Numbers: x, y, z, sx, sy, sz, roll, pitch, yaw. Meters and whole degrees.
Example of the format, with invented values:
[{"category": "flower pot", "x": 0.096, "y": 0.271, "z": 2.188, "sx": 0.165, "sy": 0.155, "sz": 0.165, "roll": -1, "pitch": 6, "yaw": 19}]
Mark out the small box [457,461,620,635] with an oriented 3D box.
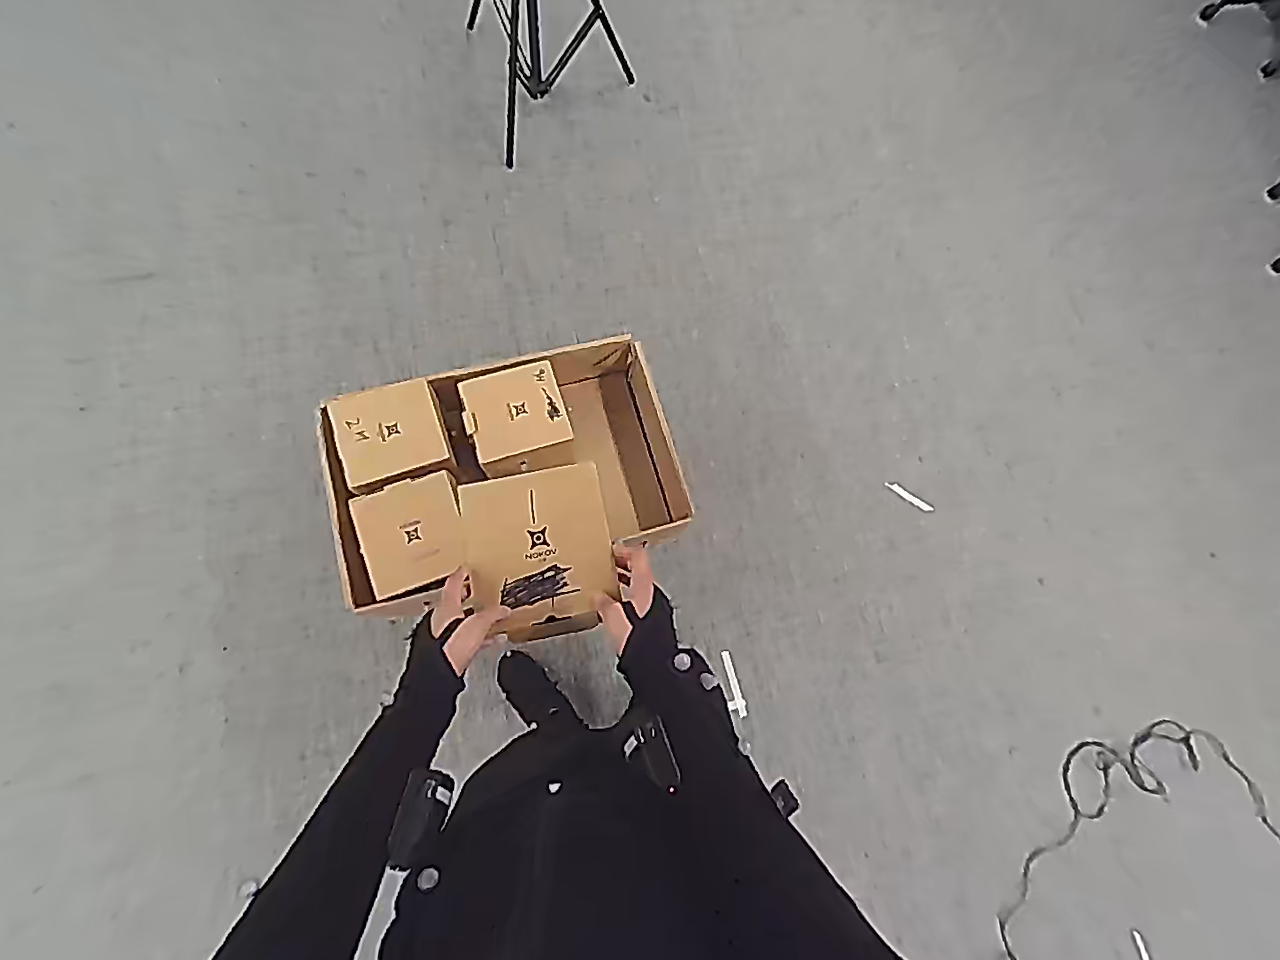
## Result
[{"category": "small box", "x": -0.119, "y": 0.089, "z": 0.694, "sx": 0.168, "sy": 0.176, "sz": 0.179, "roll": -10, "pitch": 79, "yaw": -4}]
